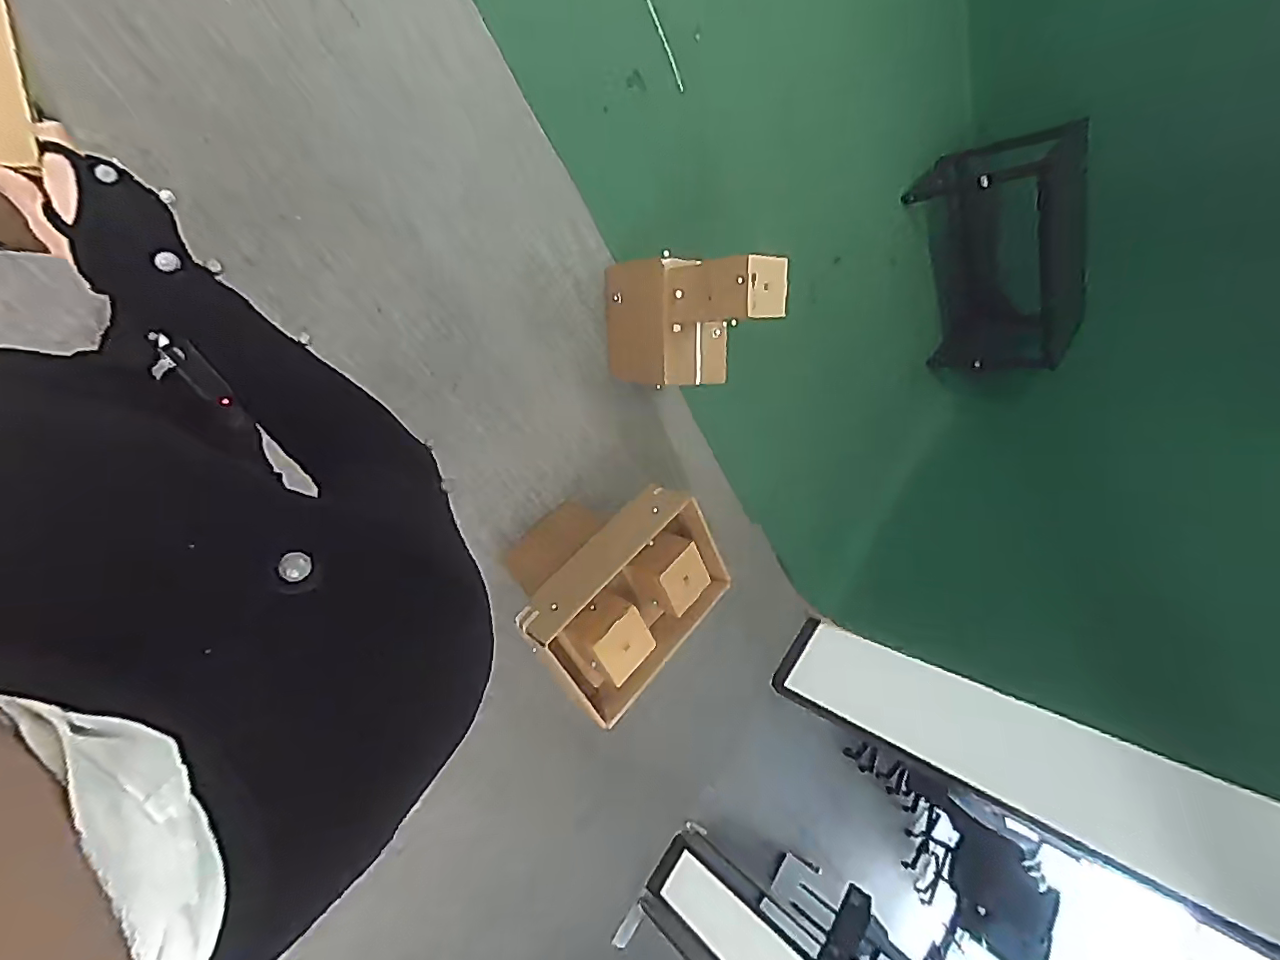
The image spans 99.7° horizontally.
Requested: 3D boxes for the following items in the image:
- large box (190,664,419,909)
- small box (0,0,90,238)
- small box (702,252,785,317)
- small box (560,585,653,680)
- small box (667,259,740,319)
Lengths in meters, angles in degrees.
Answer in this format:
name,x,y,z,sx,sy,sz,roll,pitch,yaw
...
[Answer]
name,x,y,z,sx,sy,sz,roll,pitch,yaw
large box,-0.877,0.774,1.432,0.408,0.320,0.320,-27,118,-35
small box,-0.592,-0.319,0.440,0.168,0.176,0.179,-13,94,-37
small box,0.304,-0.572,1.597,0.179,0.176,0.168,-14,110,-38
small box,-0.098,0.434,1.565,0.168,0.176,0.179,-42,124,-26
small box,0.206,-0.604,1.725,0.179,0.176,0.168,-13,109,-38
